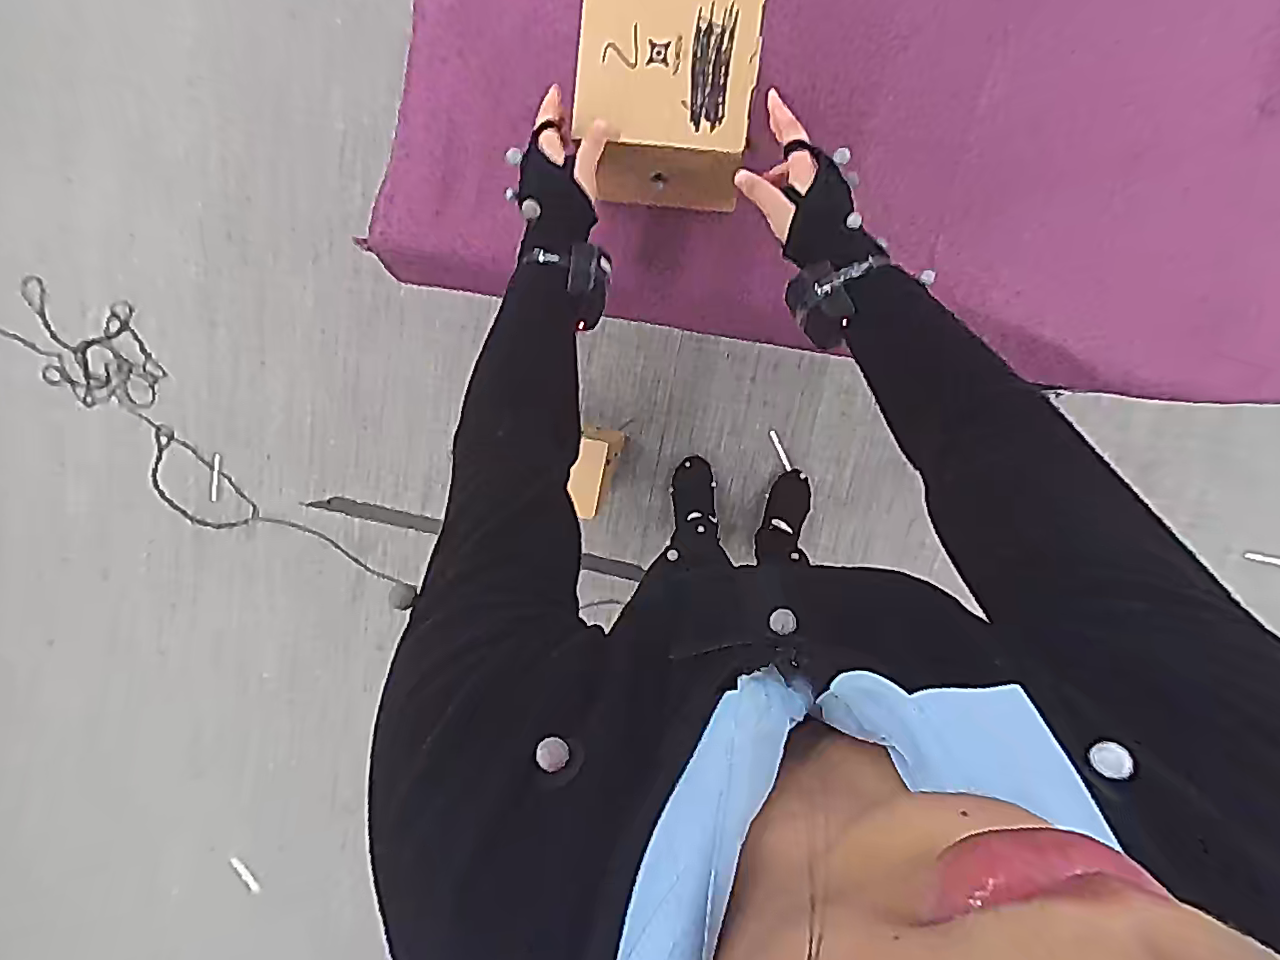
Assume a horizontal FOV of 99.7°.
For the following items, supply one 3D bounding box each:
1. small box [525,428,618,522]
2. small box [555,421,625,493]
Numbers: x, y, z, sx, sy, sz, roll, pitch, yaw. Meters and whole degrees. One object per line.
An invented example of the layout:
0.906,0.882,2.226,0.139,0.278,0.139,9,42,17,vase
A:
-0.151,-0.020,1.245,0.168,0.176,0.179,12,99,3,small box
-0.144,-0.048,1.408,0.168,0.176,0.179,17,99,2,small box
